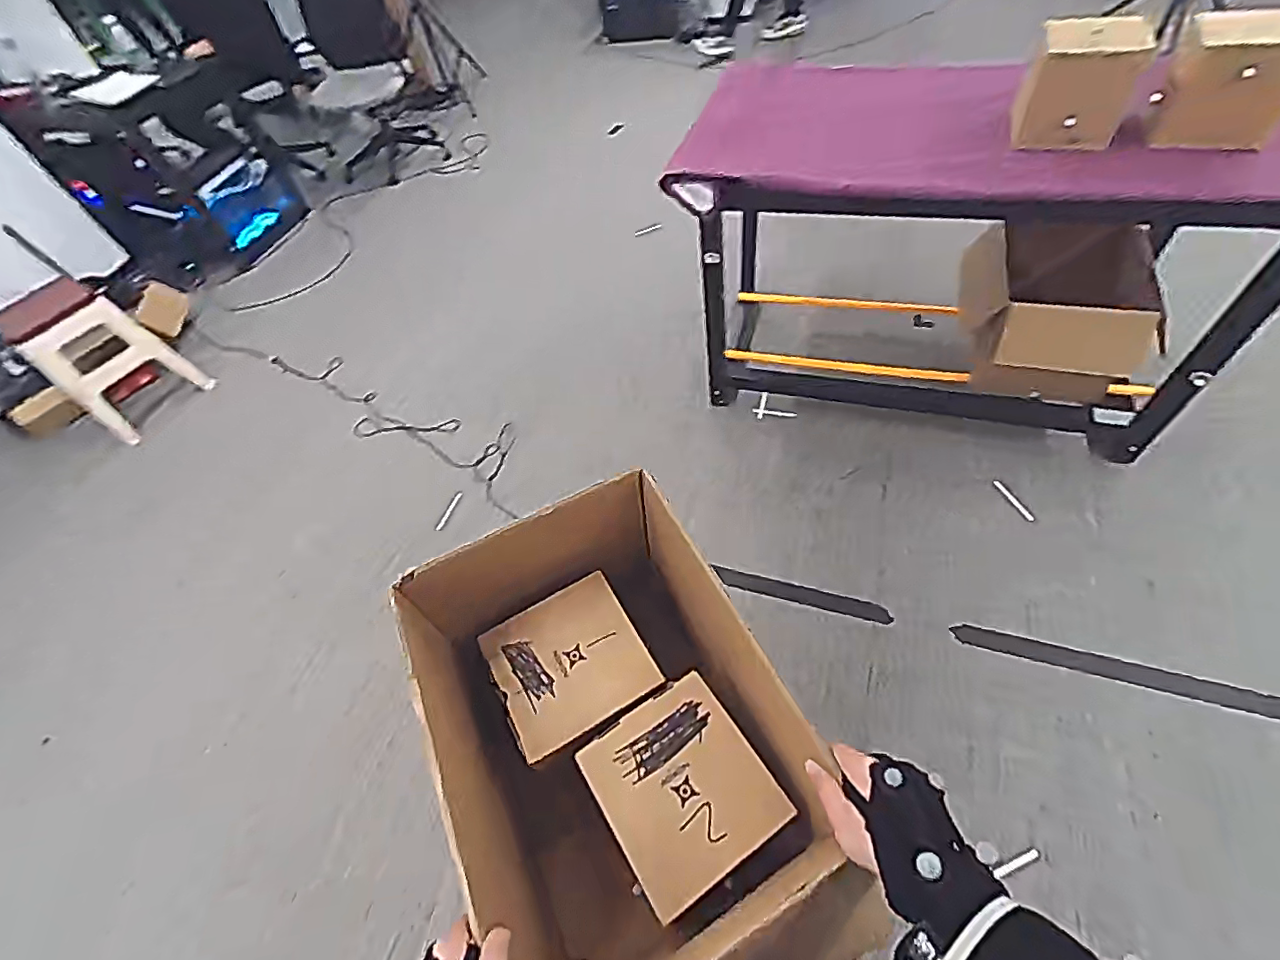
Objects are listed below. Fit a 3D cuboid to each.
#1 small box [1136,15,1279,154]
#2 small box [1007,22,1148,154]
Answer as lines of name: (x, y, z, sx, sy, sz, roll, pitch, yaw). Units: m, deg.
small box: (1.085, -0.733, 1.011, 0.179, 0.176, 0.168, 14, 57, 20)
small box: (0.861, -0.783, 1.084, 0.168, 0.176, 0.179, 12, 57, 19)
